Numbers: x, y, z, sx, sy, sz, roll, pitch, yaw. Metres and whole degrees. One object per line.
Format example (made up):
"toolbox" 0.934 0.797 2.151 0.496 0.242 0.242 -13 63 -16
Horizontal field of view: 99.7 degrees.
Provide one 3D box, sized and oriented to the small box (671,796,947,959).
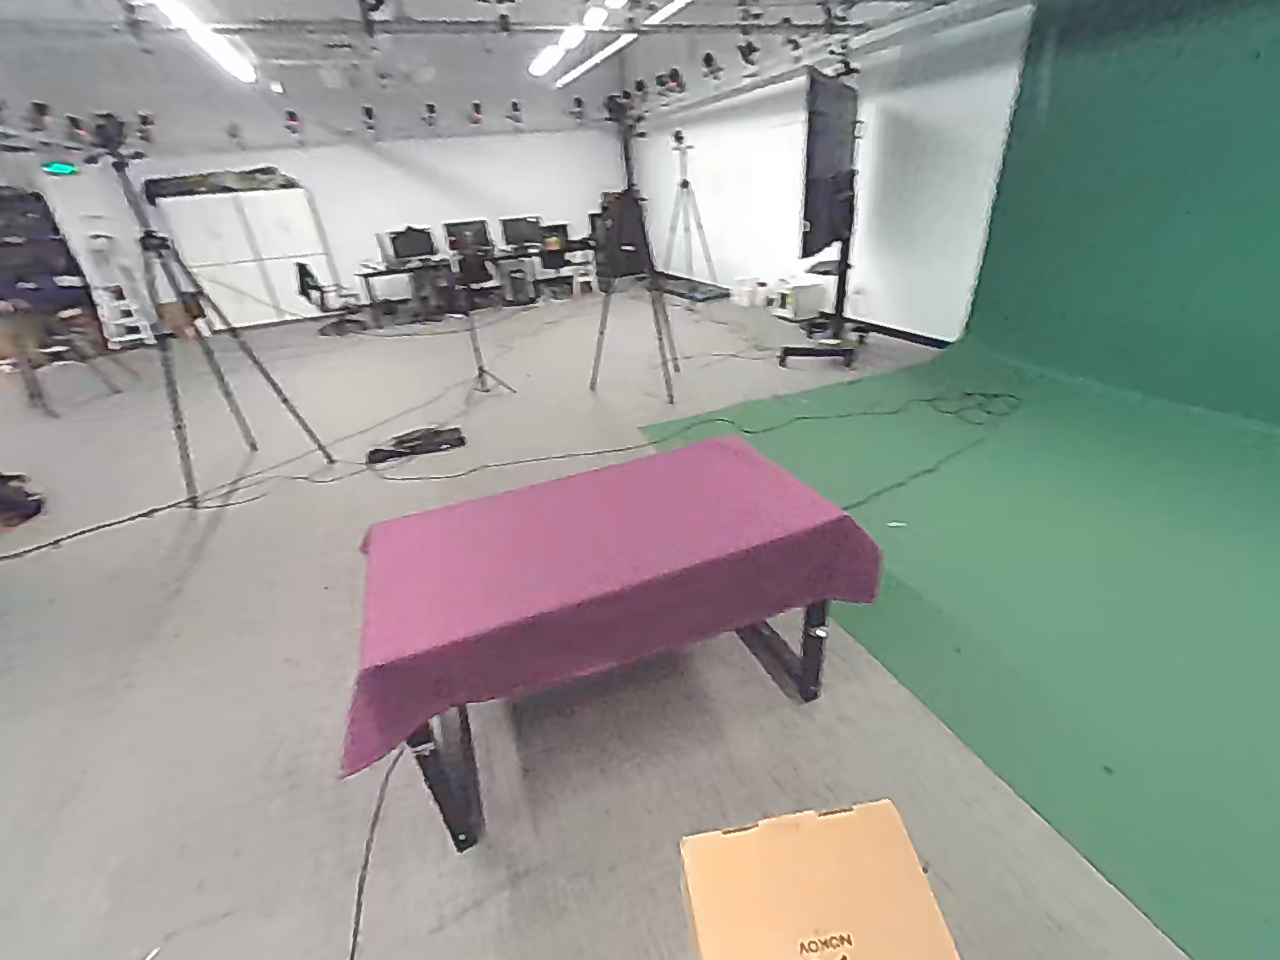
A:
"small box" 0.122 0.370 0.405 0.168 0.176 0.179 -9 44 -3
